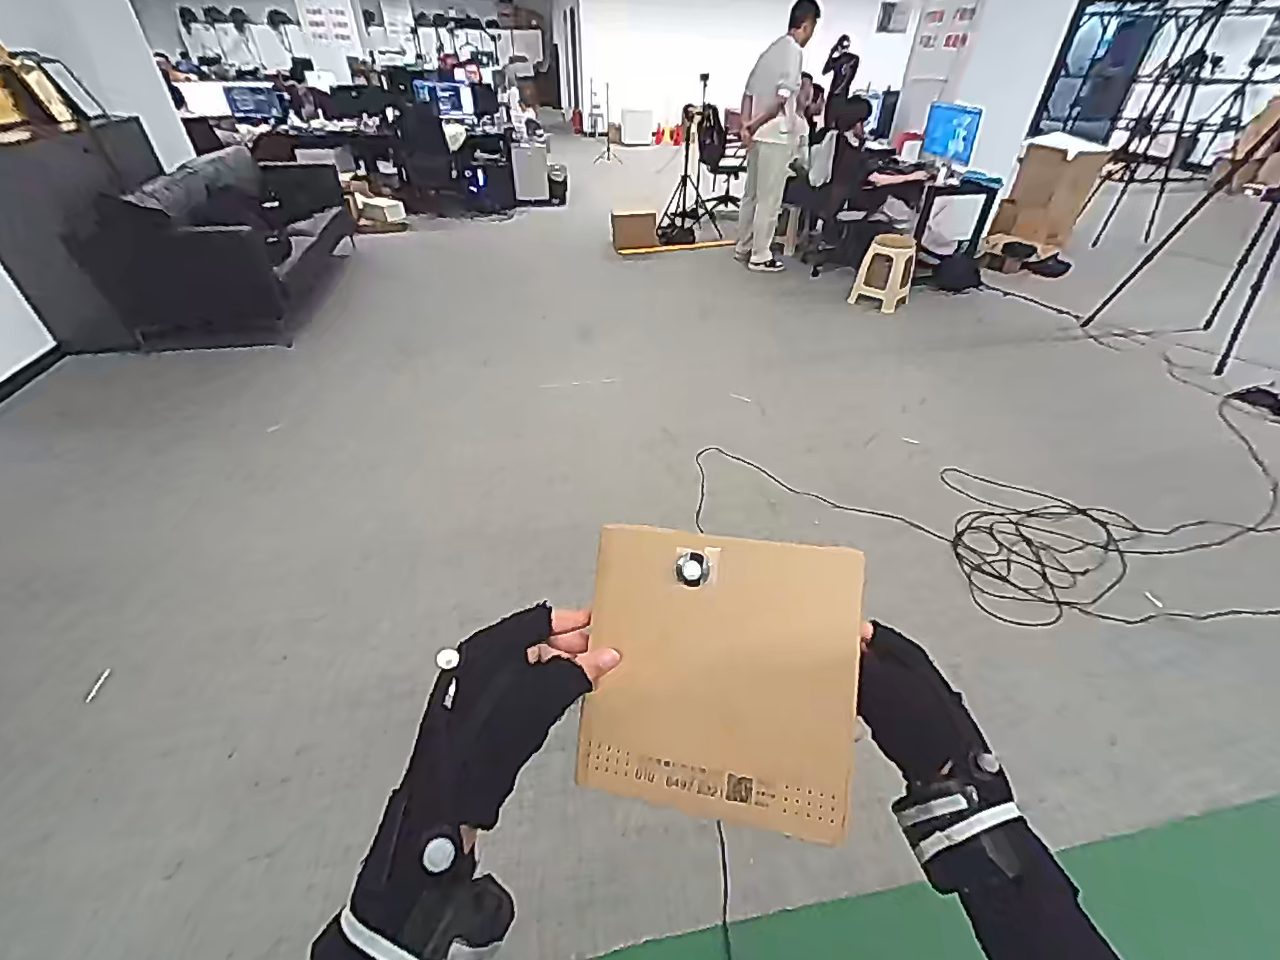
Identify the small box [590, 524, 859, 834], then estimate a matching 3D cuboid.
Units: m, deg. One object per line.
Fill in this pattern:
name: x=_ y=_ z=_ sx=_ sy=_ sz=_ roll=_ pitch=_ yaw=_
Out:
small box: x=0.068 y=0.131 z=0.419 sx=0.168 sy=0.176 sz=0.179 roll=4 pitch=-6 yaw=15
